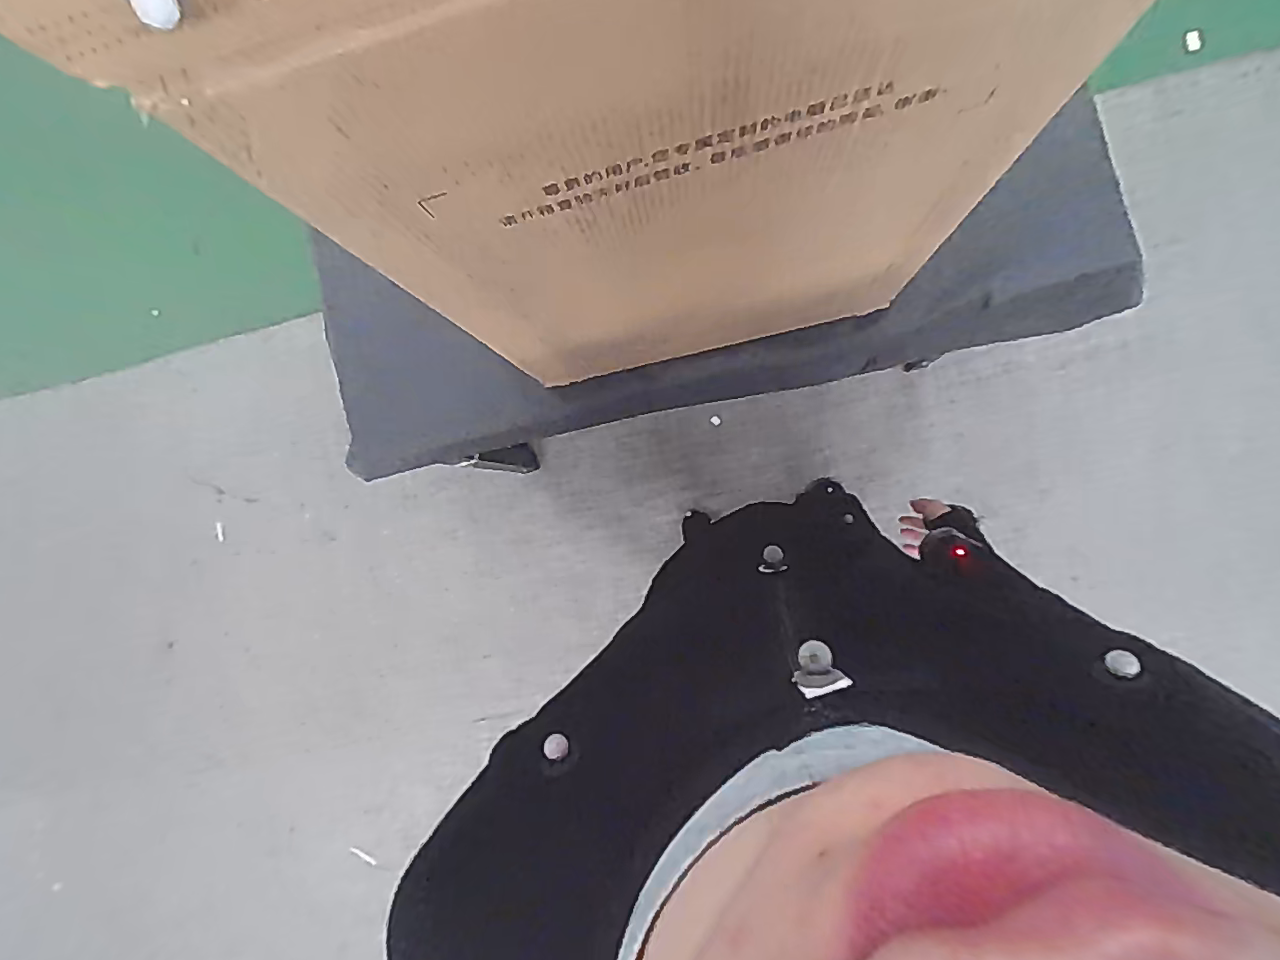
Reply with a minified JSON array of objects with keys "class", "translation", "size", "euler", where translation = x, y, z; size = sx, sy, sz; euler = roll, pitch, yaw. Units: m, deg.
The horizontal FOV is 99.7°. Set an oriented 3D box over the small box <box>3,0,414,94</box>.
[{"class":"small box","translation":[-0.183,-0.270,0.155],"size":[0.168,0.176,0.179],"euler":[-12,88,10]}]
